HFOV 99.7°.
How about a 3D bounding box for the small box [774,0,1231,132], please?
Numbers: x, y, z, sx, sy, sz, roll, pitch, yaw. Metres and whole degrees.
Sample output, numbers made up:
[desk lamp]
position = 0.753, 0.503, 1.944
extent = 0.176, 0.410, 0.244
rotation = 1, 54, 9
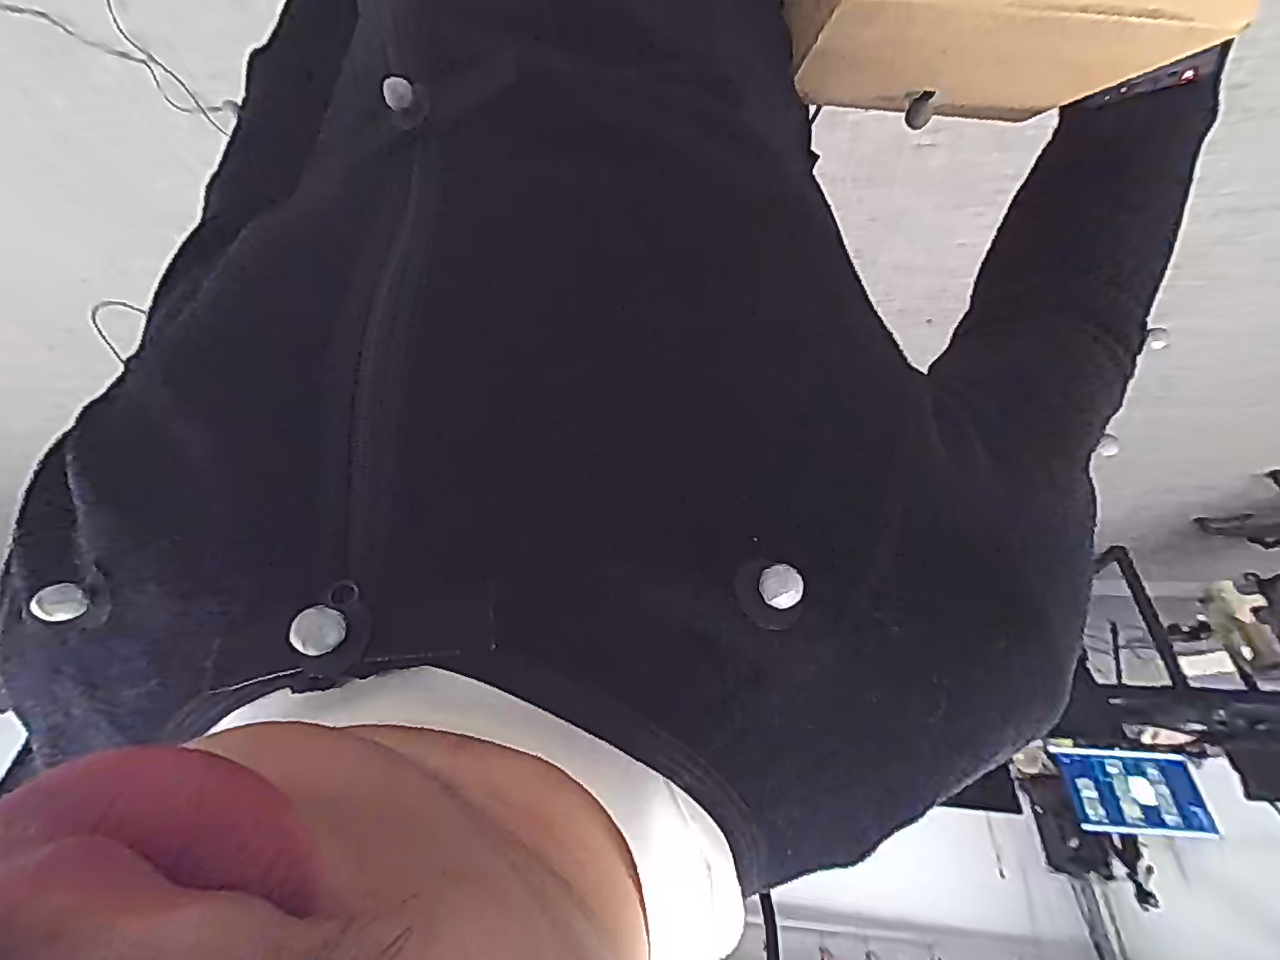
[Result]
[small box]
position = 0.186, -0.306, 0.294
extent = 0.179, 0.176, 0.168
rotation = 5, 111, 1
